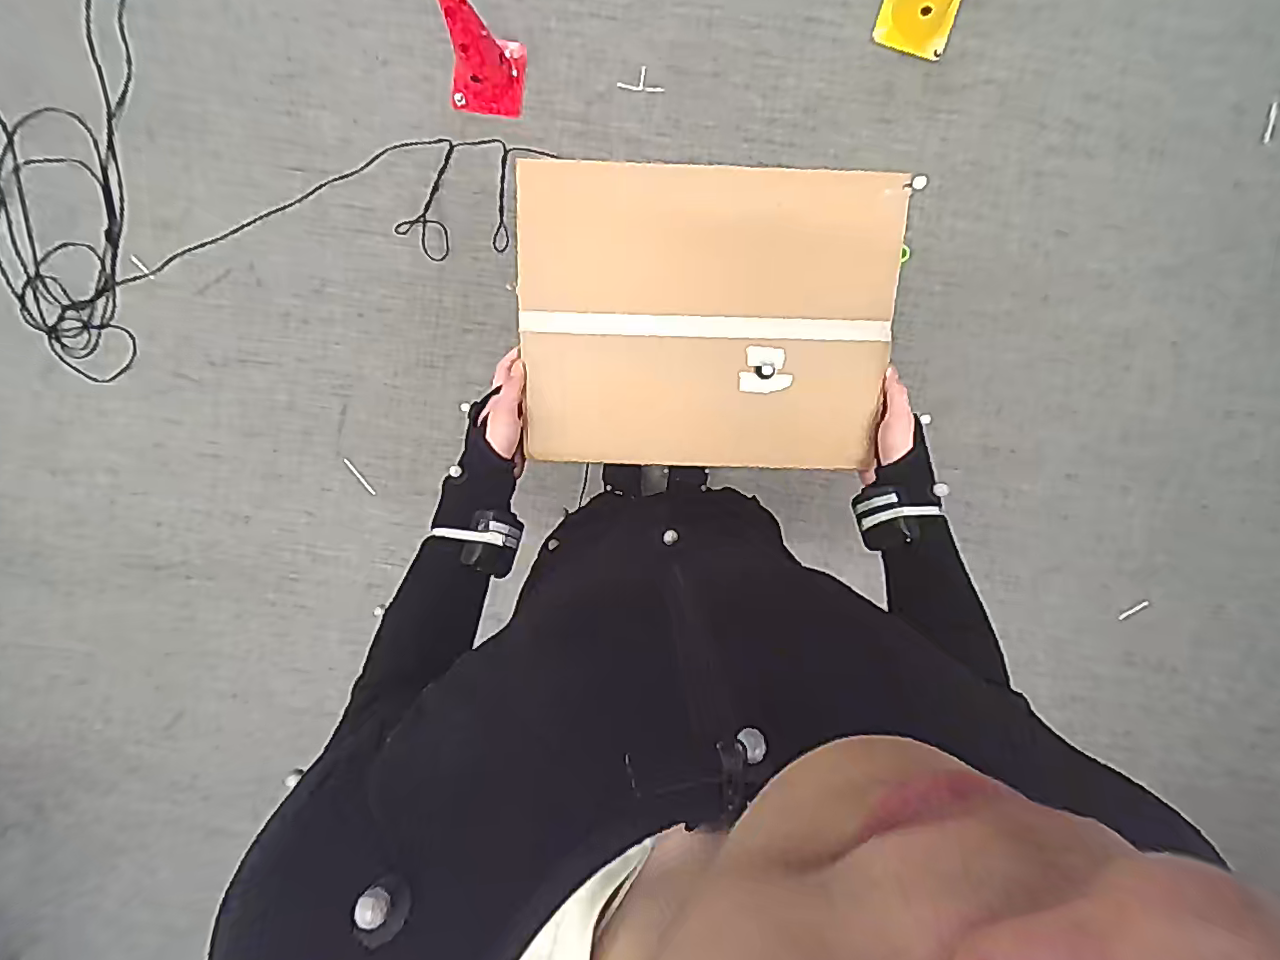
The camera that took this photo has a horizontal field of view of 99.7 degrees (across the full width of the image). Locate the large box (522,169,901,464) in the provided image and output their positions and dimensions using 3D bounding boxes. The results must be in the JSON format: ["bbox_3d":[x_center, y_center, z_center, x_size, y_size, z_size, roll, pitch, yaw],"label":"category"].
[{"bbox_3d":[0.070,-0.205,0.739,0.408,0.320,0.320,1,105,-2],"label":"large box"}]
